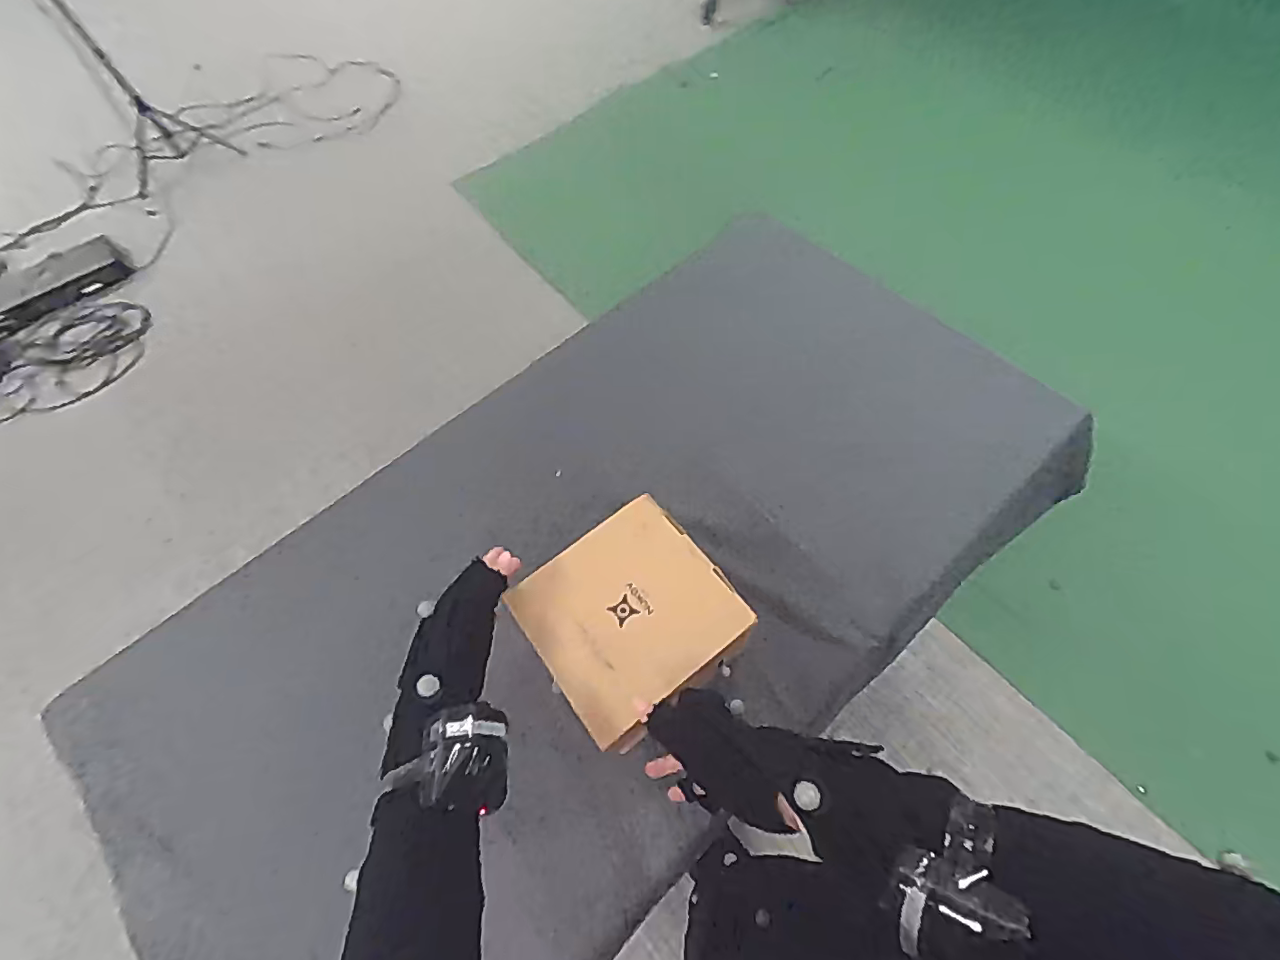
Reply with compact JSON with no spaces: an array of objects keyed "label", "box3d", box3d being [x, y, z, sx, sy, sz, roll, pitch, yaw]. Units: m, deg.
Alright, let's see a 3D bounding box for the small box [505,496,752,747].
[{"label":"small box","box3d":[-0.008,0.154,0.572,0.179,0.176,0.168,-37,65,-13]}]
